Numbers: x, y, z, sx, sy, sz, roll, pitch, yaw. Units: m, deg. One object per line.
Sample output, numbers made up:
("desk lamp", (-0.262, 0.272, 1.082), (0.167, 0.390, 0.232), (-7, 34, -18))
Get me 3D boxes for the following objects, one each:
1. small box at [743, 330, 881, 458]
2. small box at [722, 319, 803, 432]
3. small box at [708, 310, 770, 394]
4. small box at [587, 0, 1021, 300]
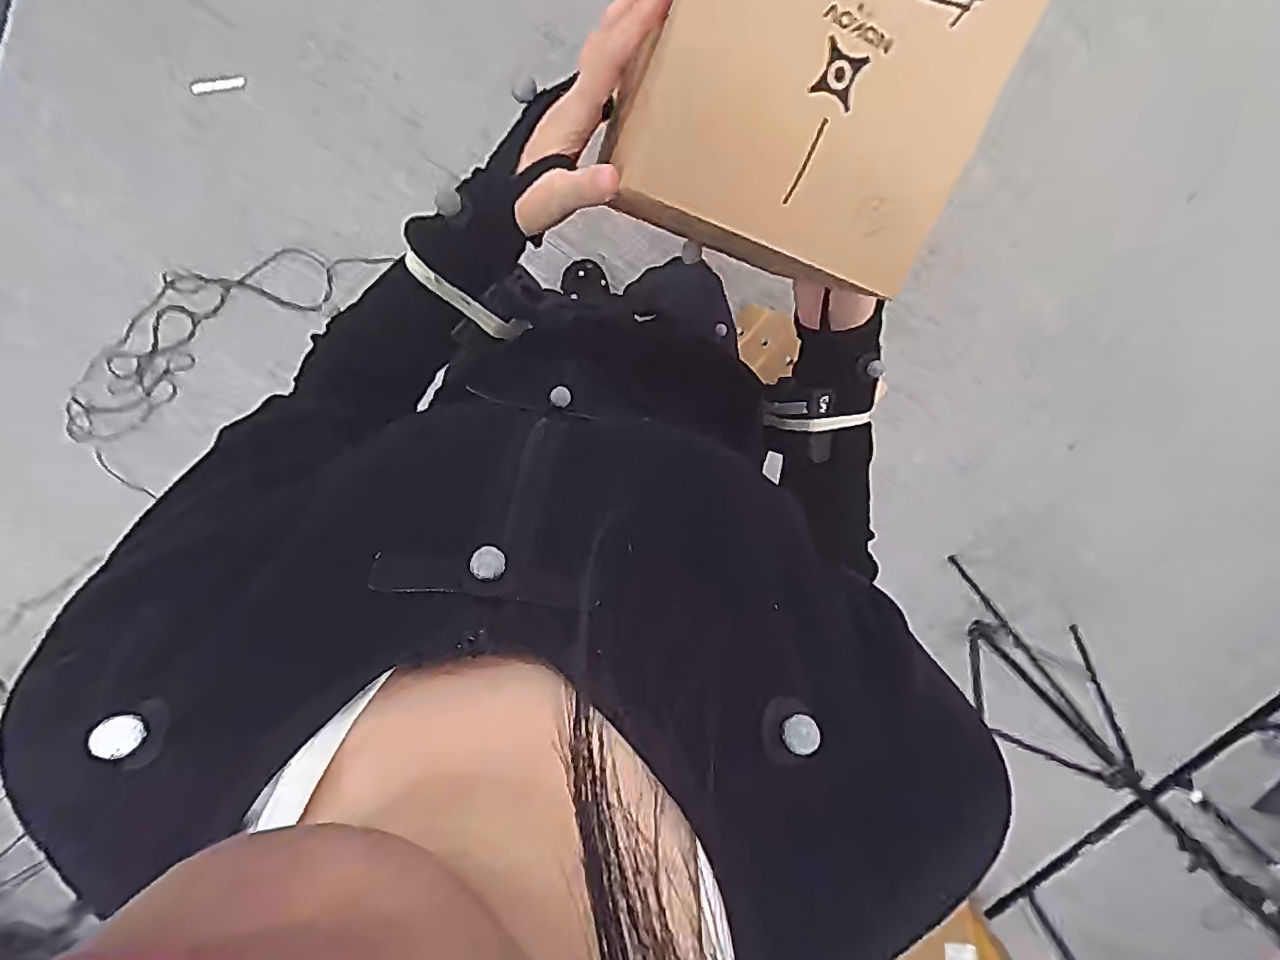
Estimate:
("small box", (0.331, -0.179, 1.081), (0.168, 0.176, 0.179), (36, 105, -17))
("small box", (0.311, -0.245, 1.228), (0.168, 0.176, 0.179), (39, 104, -18))
("small box", (0.290, -0.311, 1.378), (0.168, 0.176, 0.179), (36, 105, -18))
("small box", (0.072, -0.230, 0.327), (0.168, 0.176, 0.179), (14, 111, -18))
